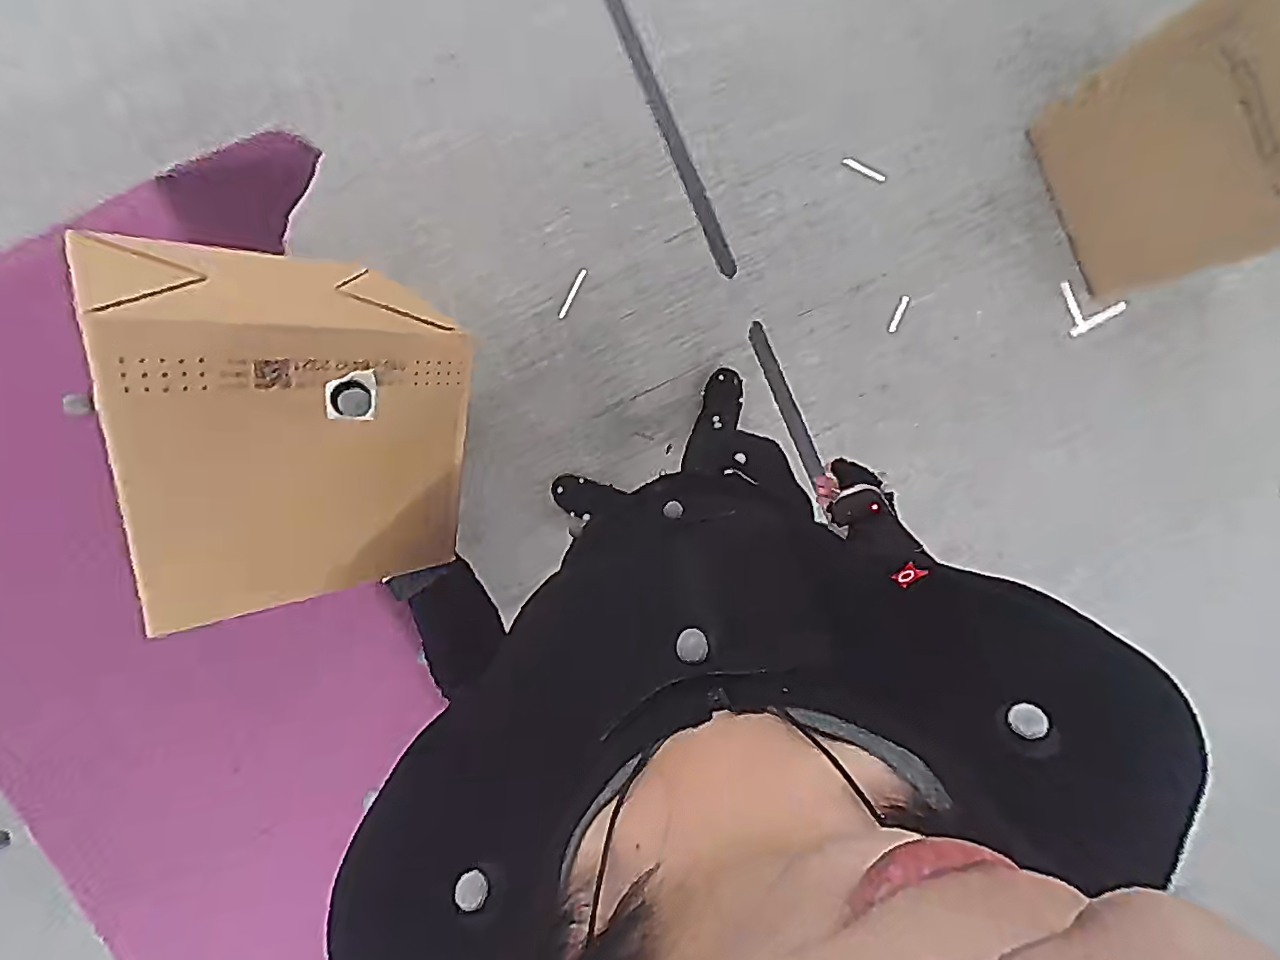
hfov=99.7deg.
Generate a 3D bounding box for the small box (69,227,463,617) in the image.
[{"bbox_3d":[-0.224,-0.052,0.343,0.168,0.179,0.176,-12,125,-41],"label":"small box"}]
